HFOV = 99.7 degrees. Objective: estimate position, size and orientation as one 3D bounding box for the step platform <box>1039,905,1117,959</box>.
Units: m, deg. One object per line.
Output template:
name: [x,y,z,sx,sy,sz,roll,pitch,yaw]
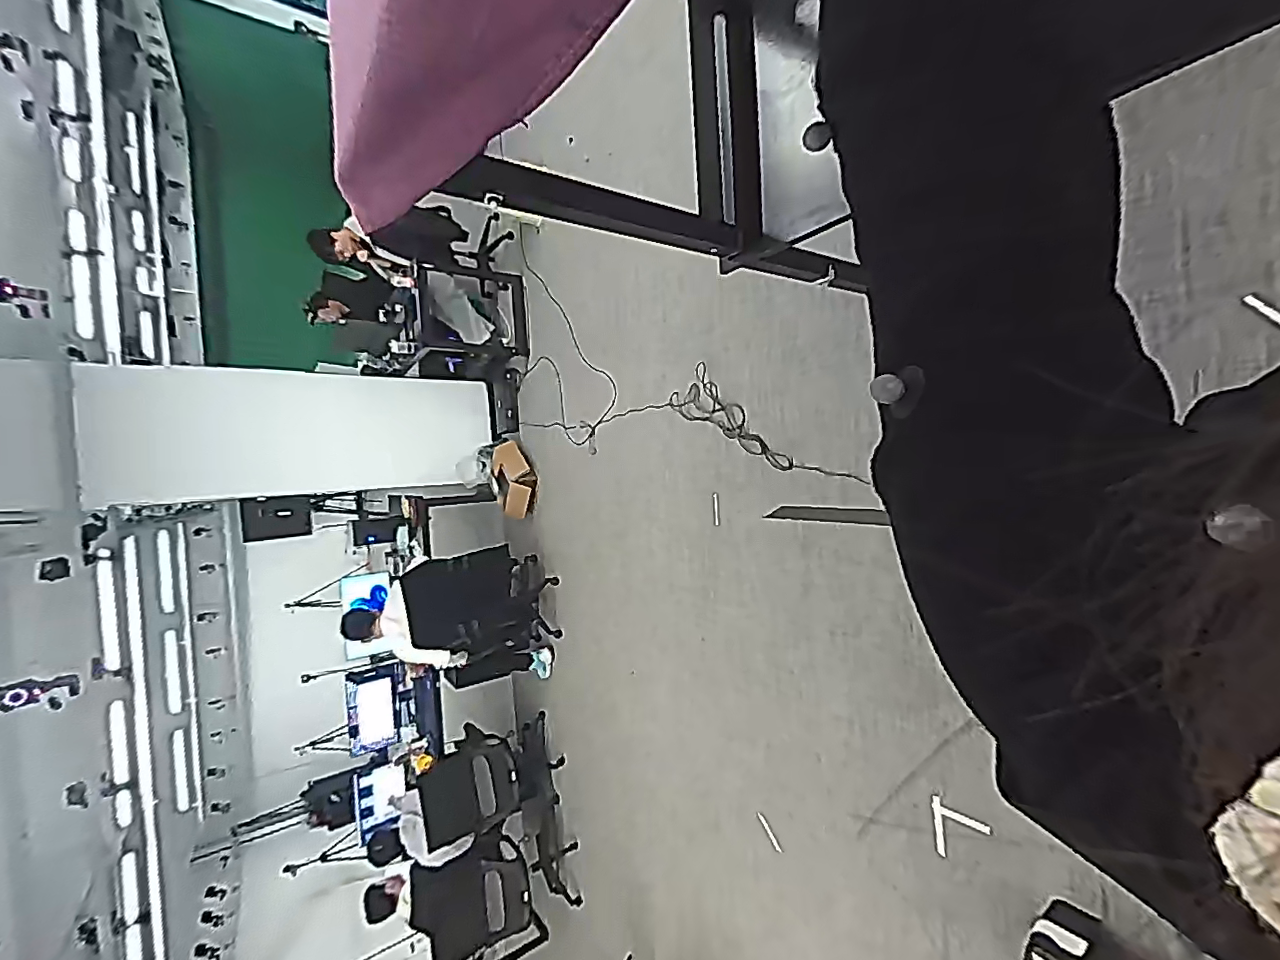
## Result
step platform: [1.157,1.200,1.019,0.684,0.204,0.286,9,101,54]
